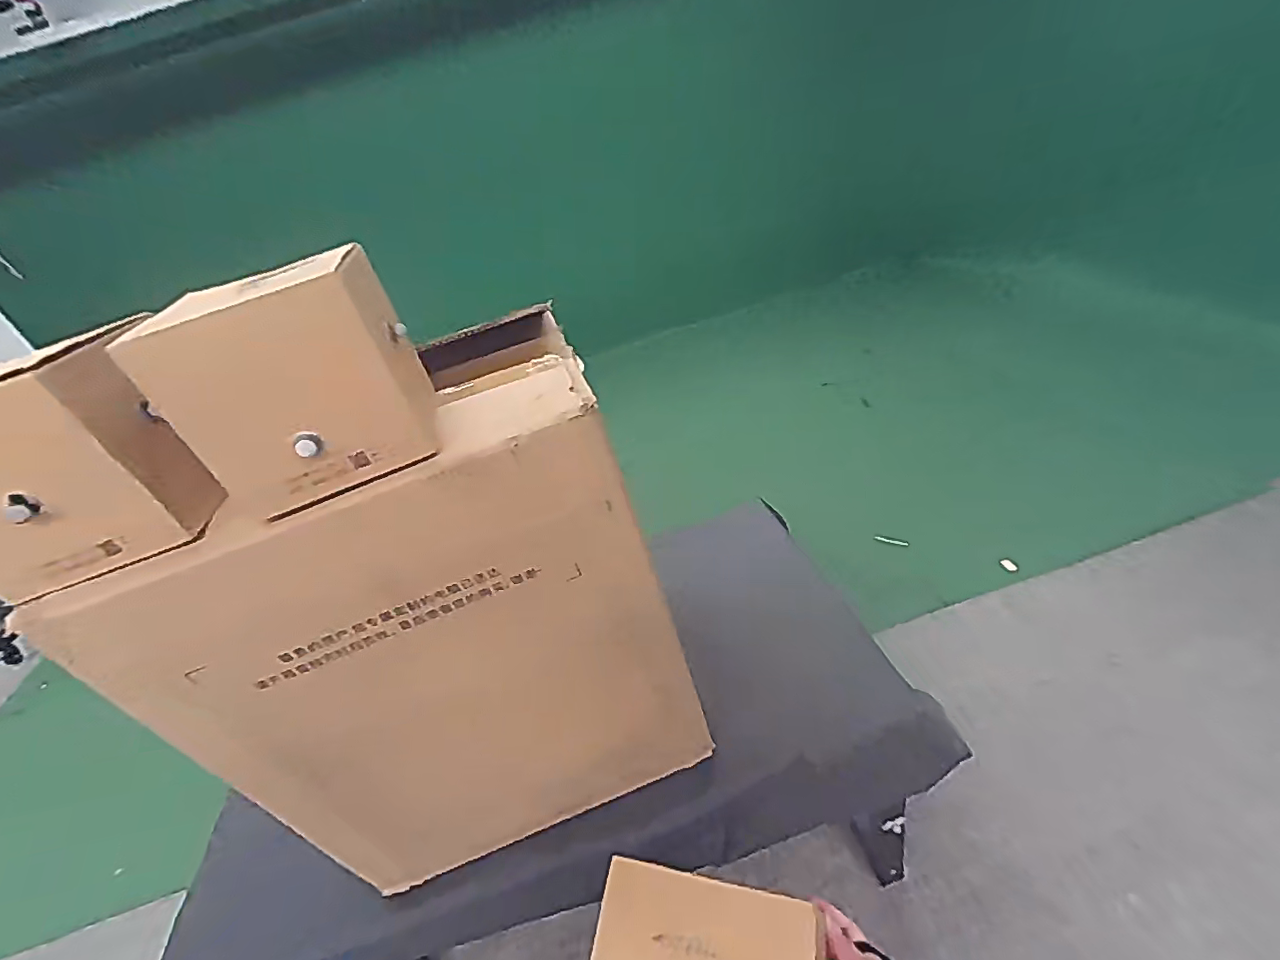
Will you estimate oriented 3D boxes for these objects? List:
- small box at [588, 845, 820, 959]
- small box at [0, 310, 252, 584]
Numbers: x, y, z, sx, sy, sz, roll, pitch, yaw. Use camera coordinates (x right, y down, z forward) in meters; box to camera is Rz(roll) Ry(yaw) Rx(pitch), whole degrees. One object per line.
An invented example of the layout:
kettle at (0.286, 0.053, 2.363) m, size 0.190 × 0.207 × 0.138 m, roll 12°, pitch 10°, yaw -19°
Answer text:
small box at (0.057, 0.428, 0.439) m, size 0.168 × 0.176 × 0.179 m, roll -1°, pitch 49°, yaw 20°
small box at (-0.507, -0.028, 0.496) m, size 0.168 × 0.176 × 0.179 m, roll -21°, pitch 35°, yaw -3°
